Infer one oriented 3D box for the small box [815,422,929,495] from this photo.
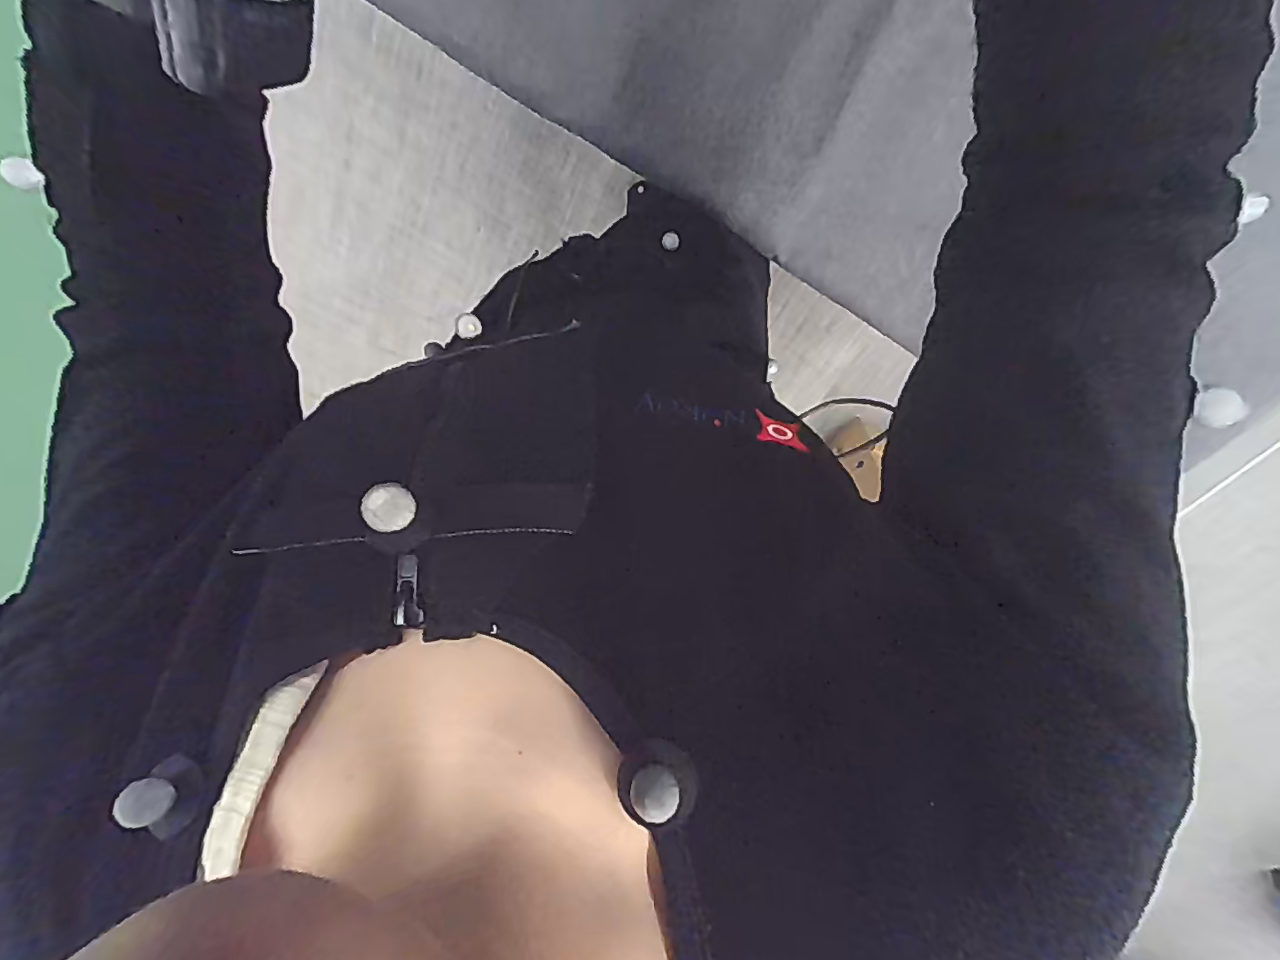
[{"bbox_3d":[0.561,-0.016,1.332,0.179,0.176,0.168,28,120,-11],"label":"small box"}]
